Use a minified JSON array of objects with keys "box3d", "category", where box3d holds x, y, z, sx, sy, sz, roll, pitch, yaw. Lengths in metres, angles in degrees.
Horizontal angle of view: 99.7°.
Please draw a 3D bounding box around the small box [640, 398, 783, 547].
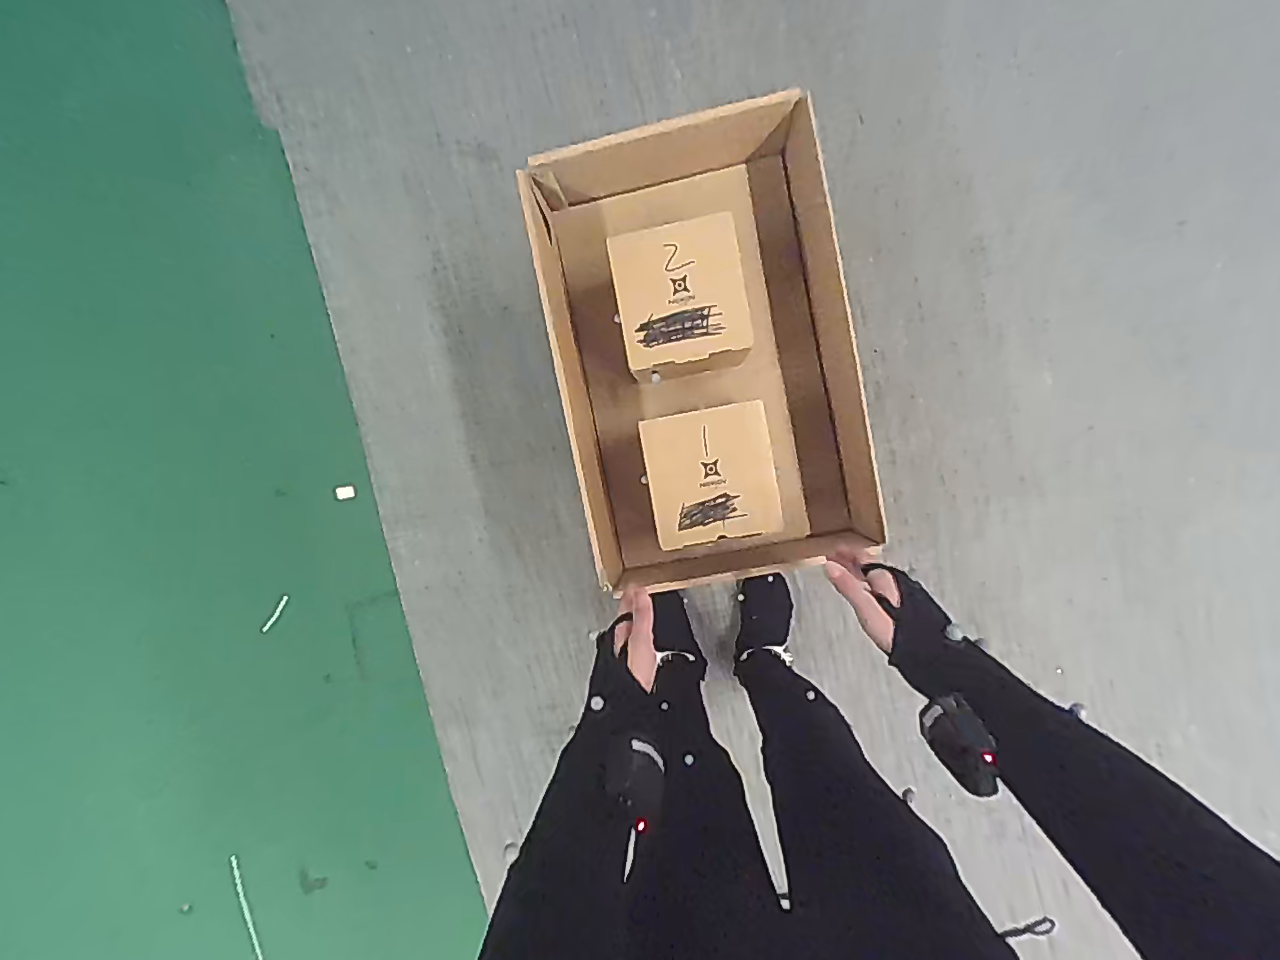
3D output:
[{"box3d":[0.101,-0.013,0.781,0.168,0.176,0.179,-10,91,5],"category":"small box"}]
